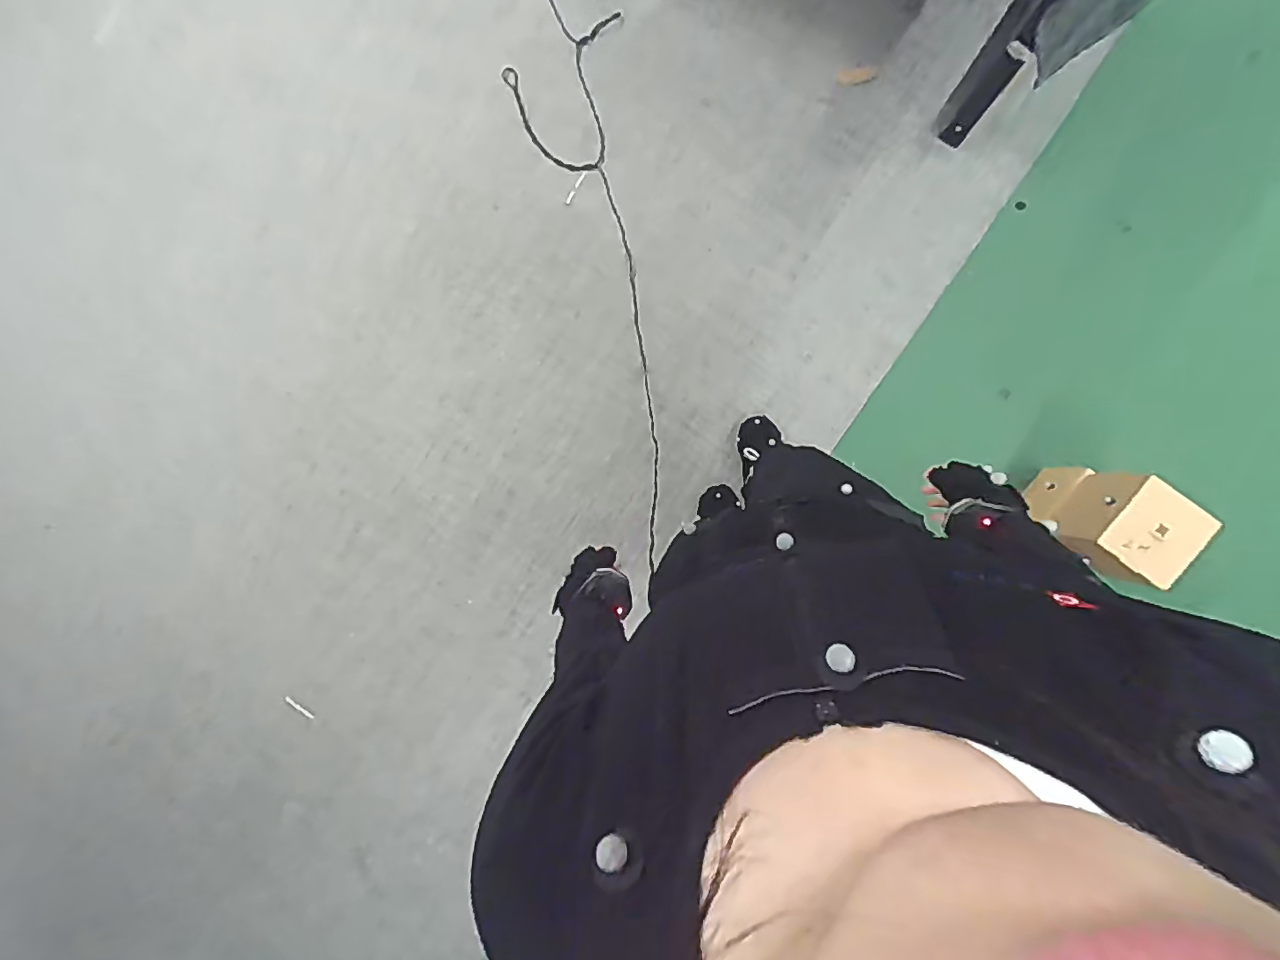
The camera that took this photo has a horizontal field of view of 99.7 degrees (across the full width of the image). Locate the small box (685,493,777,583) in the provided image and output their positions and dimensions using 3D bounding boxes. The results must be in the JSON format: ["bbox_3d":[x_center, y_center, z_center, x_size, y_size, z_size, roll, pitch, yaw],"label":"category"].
[{"bbox_3d":[0.234,0.147,1.416,0.179,0.176,0.168,27,105,23],"label":"small box"}]

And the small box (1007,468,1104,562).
[{"bbox_3d":[1.049,0.089,1.310,0.179,0.176,0.168,39,94,4],"label":"small box"}]

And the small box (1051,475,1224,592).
[{"bbox_3d":[1.036,0.105,1.145,0.168,0.176,0.179,38,94,4],"label":"small box"}]
